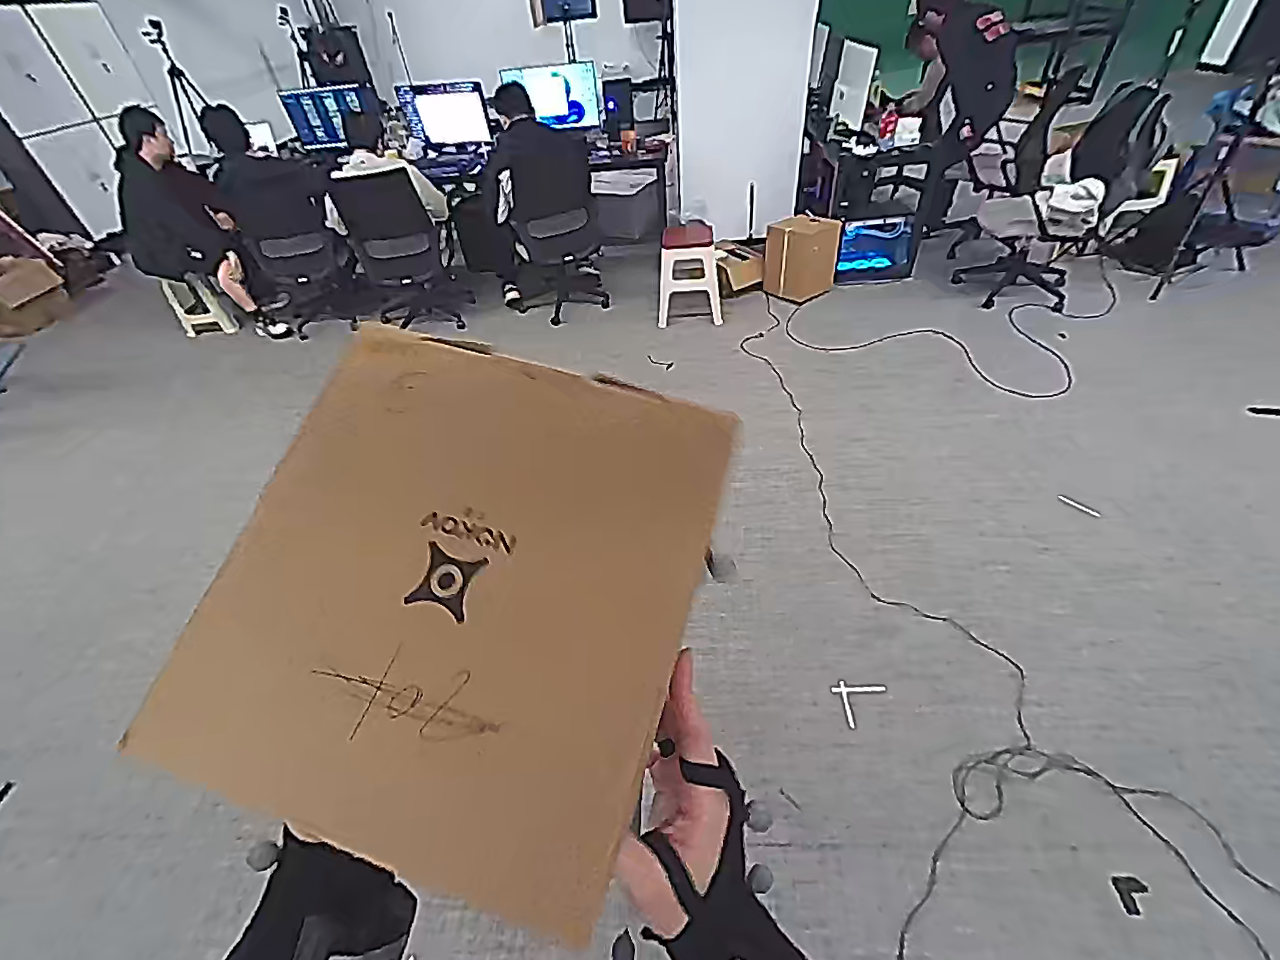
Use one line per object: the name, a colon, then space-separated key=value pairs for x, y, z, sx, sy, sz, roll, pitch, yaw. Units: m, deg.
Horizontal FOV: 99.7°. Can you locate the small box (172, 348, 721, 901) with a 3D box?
small box: x=-0.060 y=0.063 z=0.279 sx=0.168 sy=0.176 sz=0.179 roll=11 pitch=70 yaw=8
